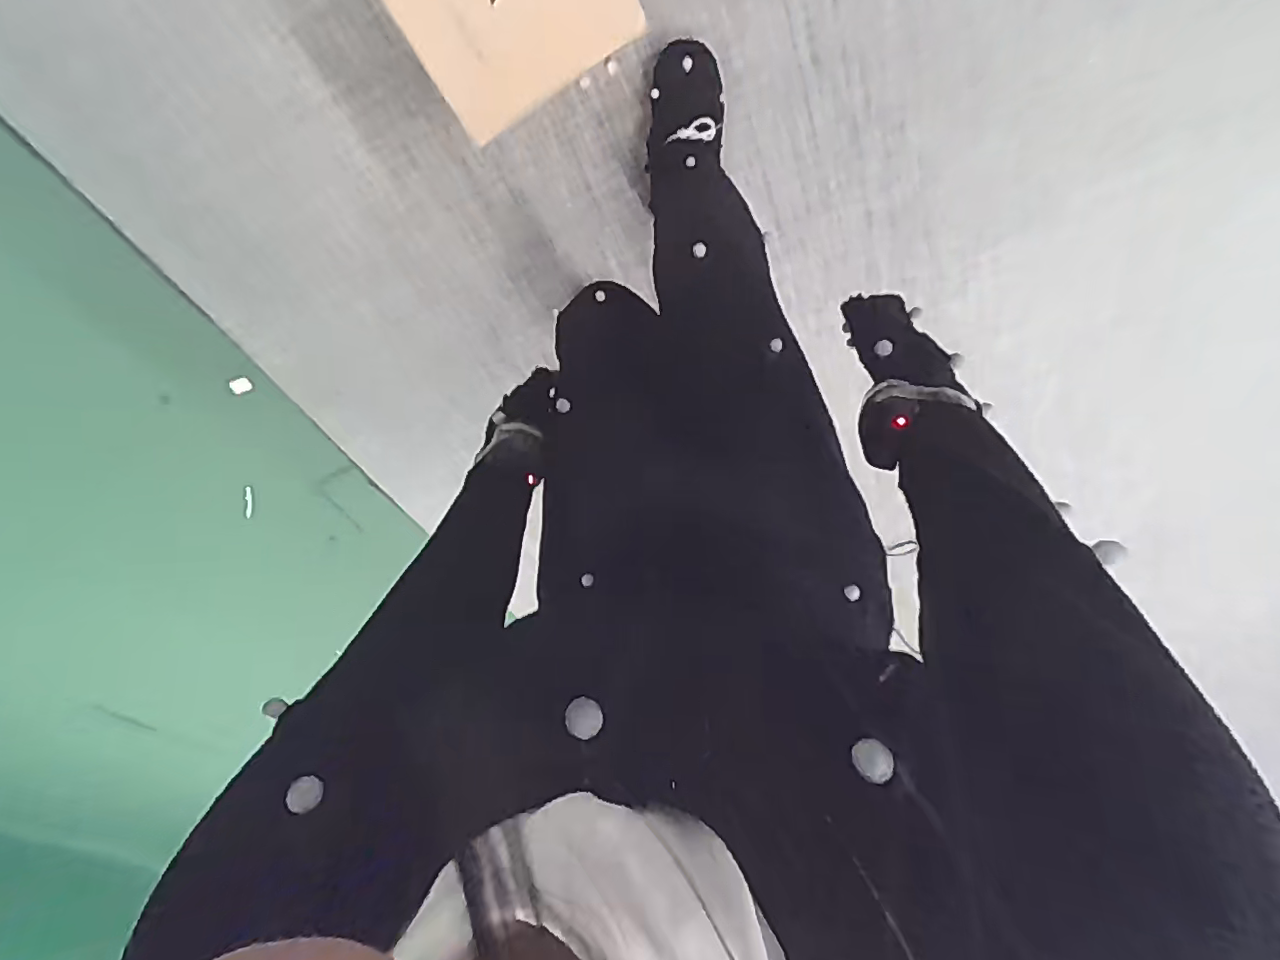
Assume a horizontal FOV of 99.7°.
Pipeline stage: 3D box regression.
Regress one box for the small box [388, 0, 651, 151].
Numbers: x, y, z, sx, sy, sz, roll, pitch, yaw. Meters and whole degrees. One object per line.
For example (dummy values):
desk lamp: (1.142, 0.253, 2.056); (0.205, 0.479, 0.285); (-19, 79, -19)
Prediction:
small box: (-0.106, -0.437, 0.482); (0.179, 0.176, 0.168); (-24, 126, 19)
